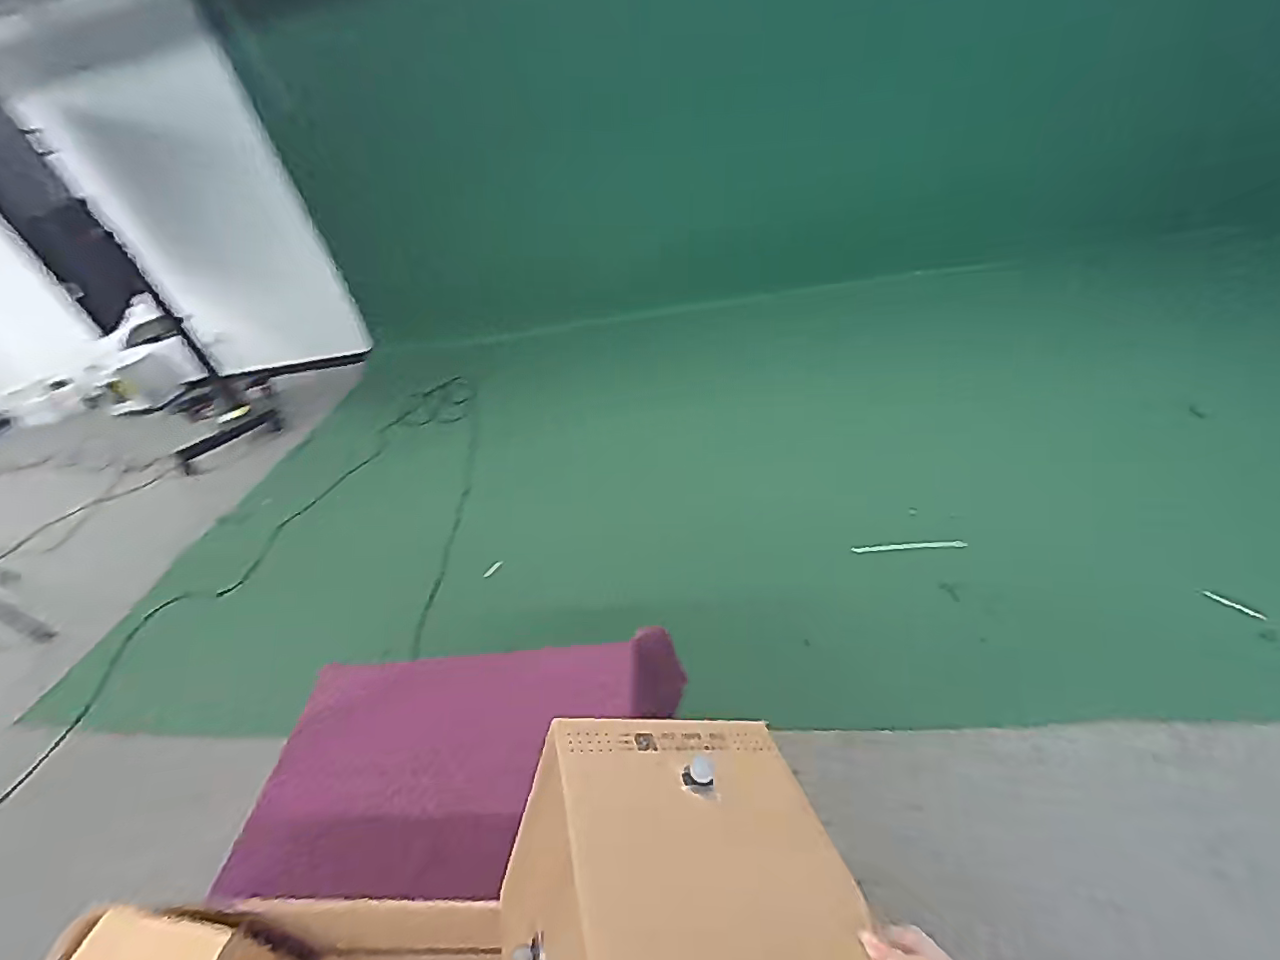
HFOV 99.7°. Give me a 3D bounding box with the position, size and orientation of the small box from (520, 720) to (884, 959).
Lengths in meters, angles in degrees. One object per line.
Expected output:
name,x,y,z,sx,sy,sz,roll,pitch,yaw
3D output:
small box,0.019,0.287,0.348,0.168,0.179,0.176,9,19,-18
